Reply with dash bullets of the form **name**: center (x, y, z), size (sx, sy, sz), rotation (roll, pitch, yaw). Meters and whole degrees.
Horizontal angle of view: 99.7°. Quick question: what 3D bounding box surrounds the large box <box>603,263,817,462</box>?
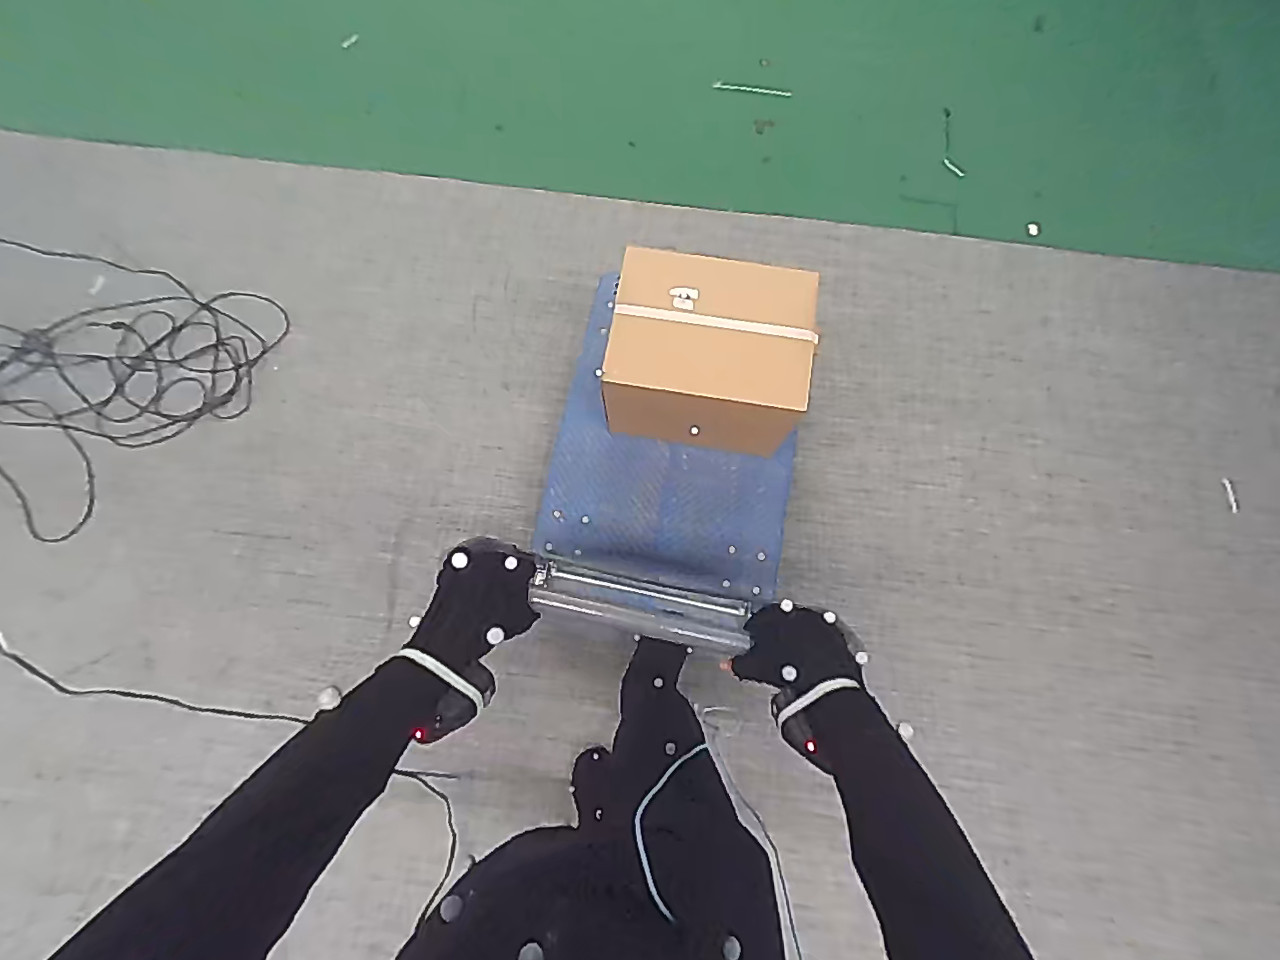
- **large box**: center (0.152, -0.246, 1.221), size (0.408, 0.320, 0.320), rotation (8, 75, 4)
